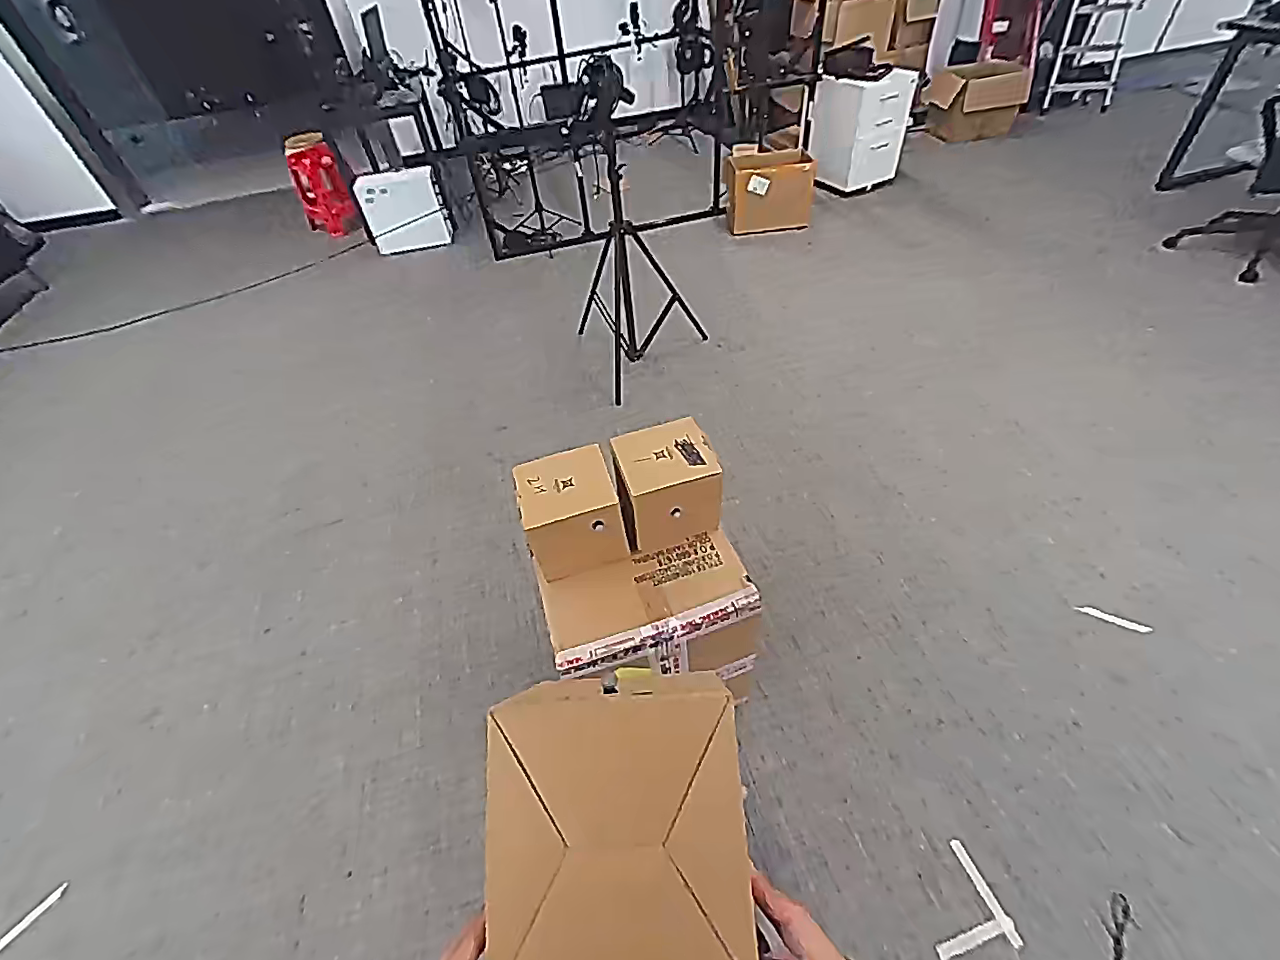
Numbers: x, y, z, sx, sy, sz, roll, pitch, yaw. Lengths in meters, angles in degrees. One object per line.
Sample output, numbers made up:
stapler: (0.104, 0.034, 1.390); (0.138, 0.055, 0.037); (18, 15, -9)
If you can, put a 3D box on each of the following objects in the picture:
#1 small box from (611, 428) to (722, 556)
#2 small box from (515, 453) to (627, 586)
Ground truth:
small box: (0.051, 0.025, 1.088); (0.179, 0.176, 0.168); (-15, 47, -9)
small box: (-0.129, 0.080, 1.057); (0.179, 0.176, 0.168); (-17, 47, -6)
